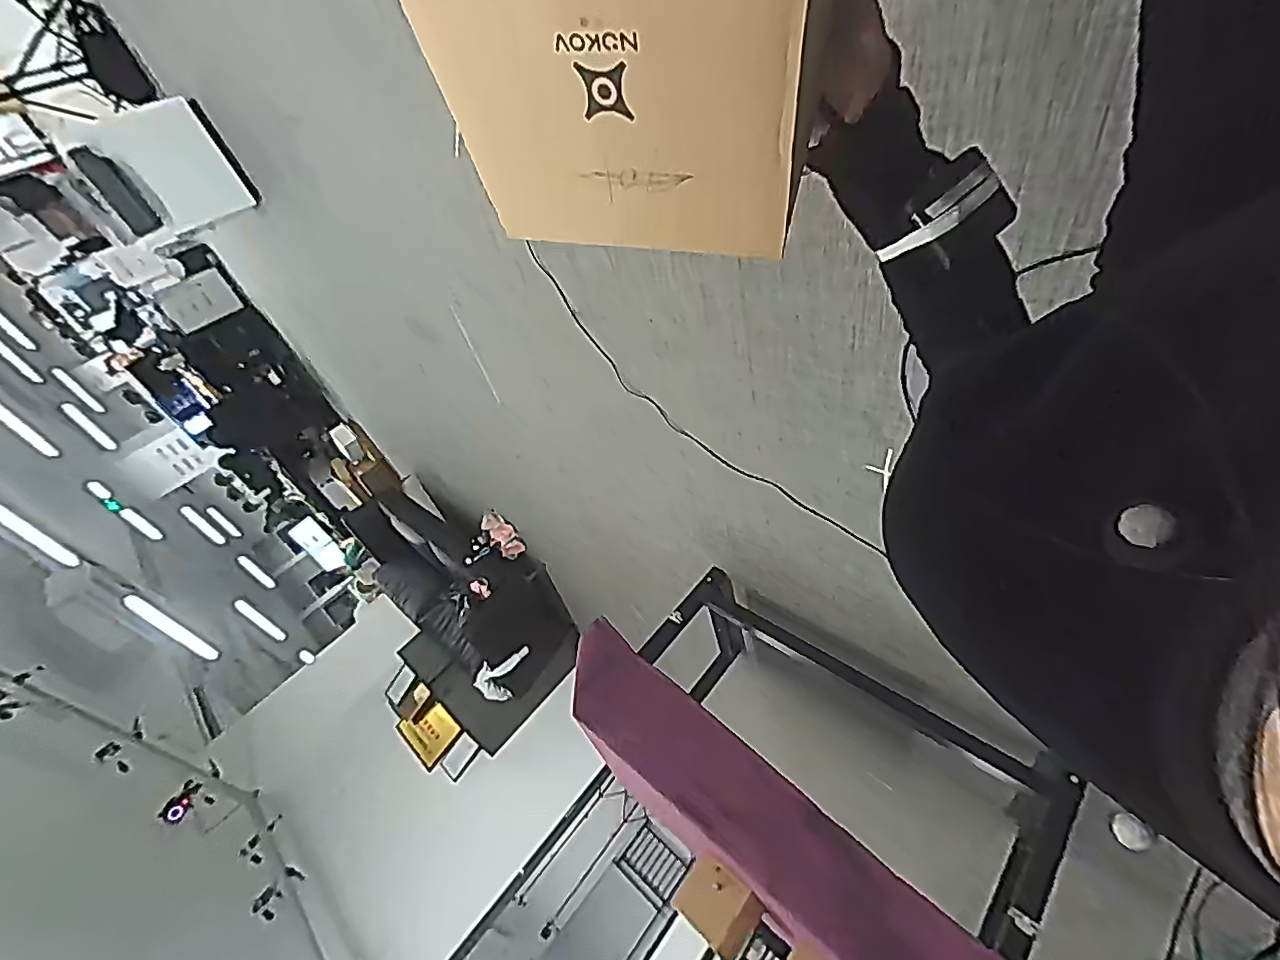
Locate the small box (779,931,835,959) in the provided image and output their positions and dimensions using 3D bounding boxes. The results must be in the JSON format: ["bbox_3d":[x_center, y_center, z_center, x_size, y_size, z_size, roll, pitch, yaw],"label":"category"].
[{"bbox_3d":[0.433,1.279,1.354,0.179,0.176,0.168,24,146,40],"label":"small box"}]

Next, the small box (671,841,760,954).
[{"bbox_3d":[0.222,1.187,1.545,0.168,0.176,0.179,19,142,44],"label":"small box"}]

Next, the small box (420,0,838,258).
[{"bbox_3d":[0.012,-0.245,0.271,0.168,0.176,0.179,12,158,15],"label":"small box"}]
